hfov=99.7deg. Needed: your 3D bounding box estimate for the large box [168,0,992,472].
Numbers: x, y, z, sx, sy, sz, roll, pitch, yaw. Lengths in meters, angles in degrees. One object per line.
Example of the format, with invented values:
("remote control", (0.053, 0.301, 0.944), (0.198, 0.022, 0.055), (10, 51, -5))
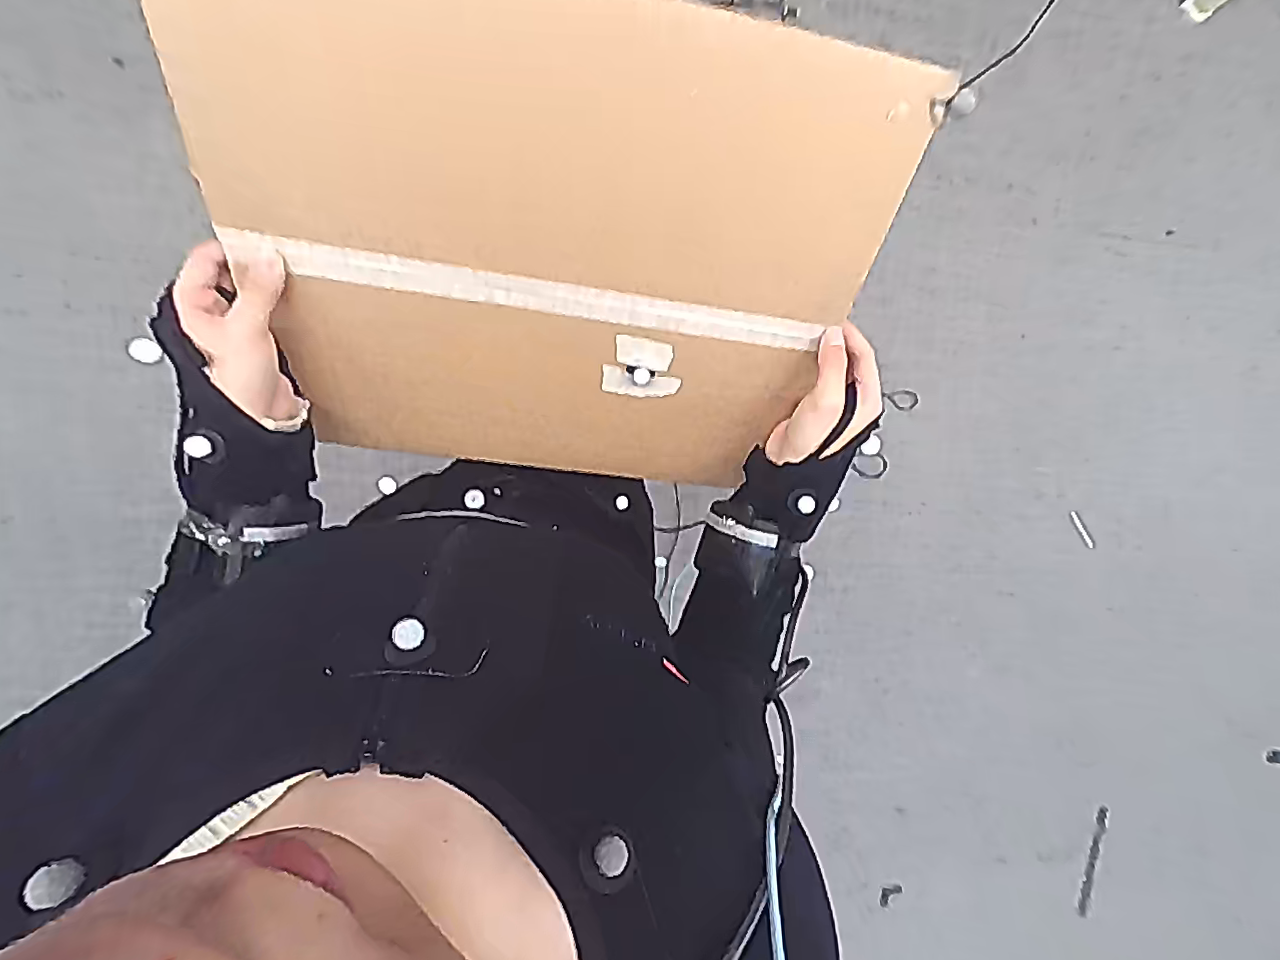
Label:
("large box", (-0.050, -0.234, 0.450), (0.408, 0.320, 0.320), (6, 133, -10))
